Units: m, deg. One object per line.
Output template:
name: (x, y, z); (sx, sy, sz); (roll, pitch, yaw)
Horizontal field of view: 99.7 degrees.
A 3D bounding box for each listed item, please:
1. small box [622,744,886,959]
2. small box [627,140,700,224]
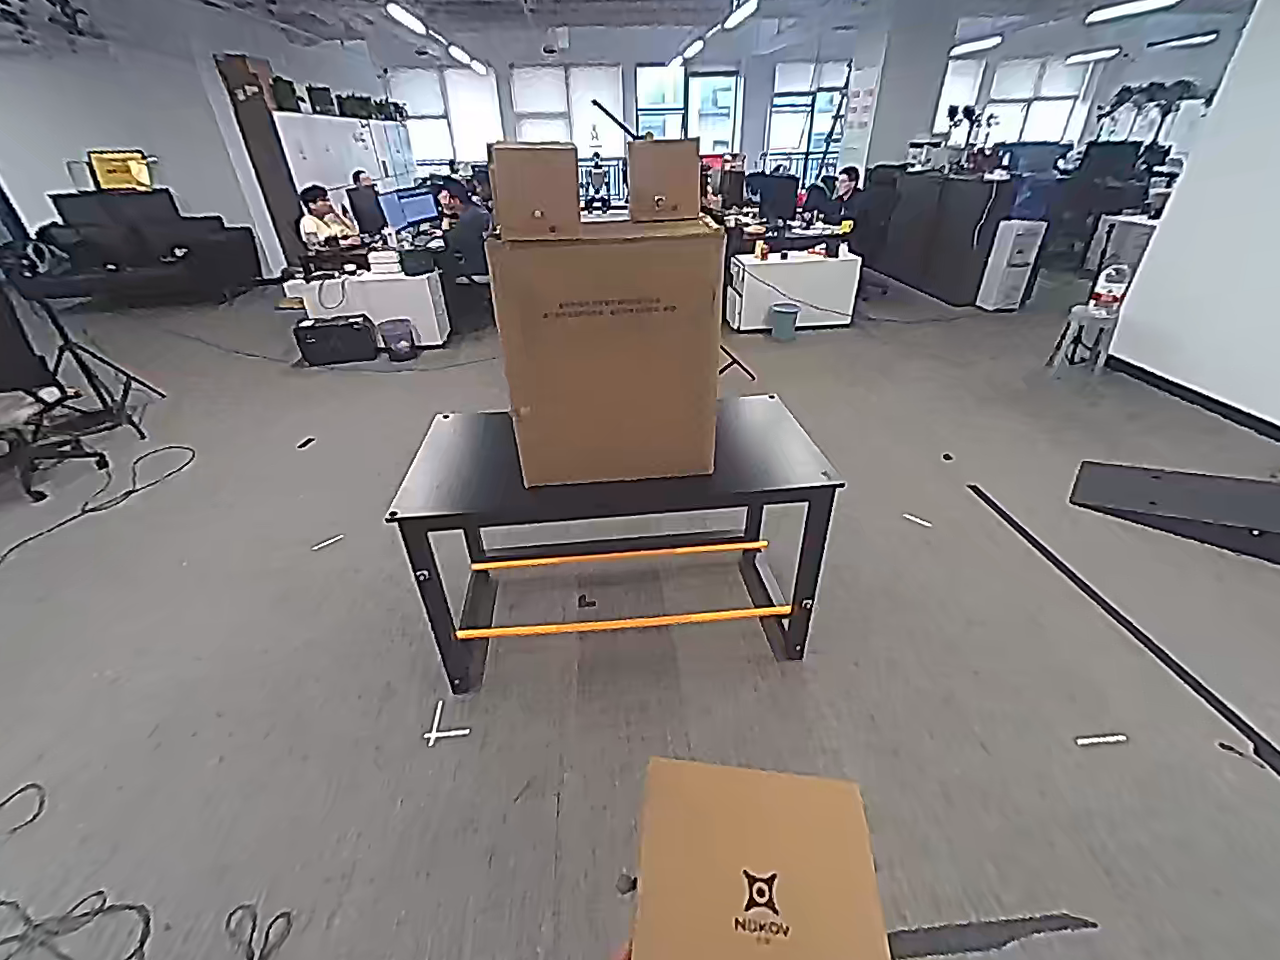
small box: (0.074, 0.337, 0.420); (0.168, 0.176, 0.179); (6, 43, 3)
small box: (0.054, -0.728, 1.325); (0.168, 0.176, 0.179); (-5, 32, -1)
